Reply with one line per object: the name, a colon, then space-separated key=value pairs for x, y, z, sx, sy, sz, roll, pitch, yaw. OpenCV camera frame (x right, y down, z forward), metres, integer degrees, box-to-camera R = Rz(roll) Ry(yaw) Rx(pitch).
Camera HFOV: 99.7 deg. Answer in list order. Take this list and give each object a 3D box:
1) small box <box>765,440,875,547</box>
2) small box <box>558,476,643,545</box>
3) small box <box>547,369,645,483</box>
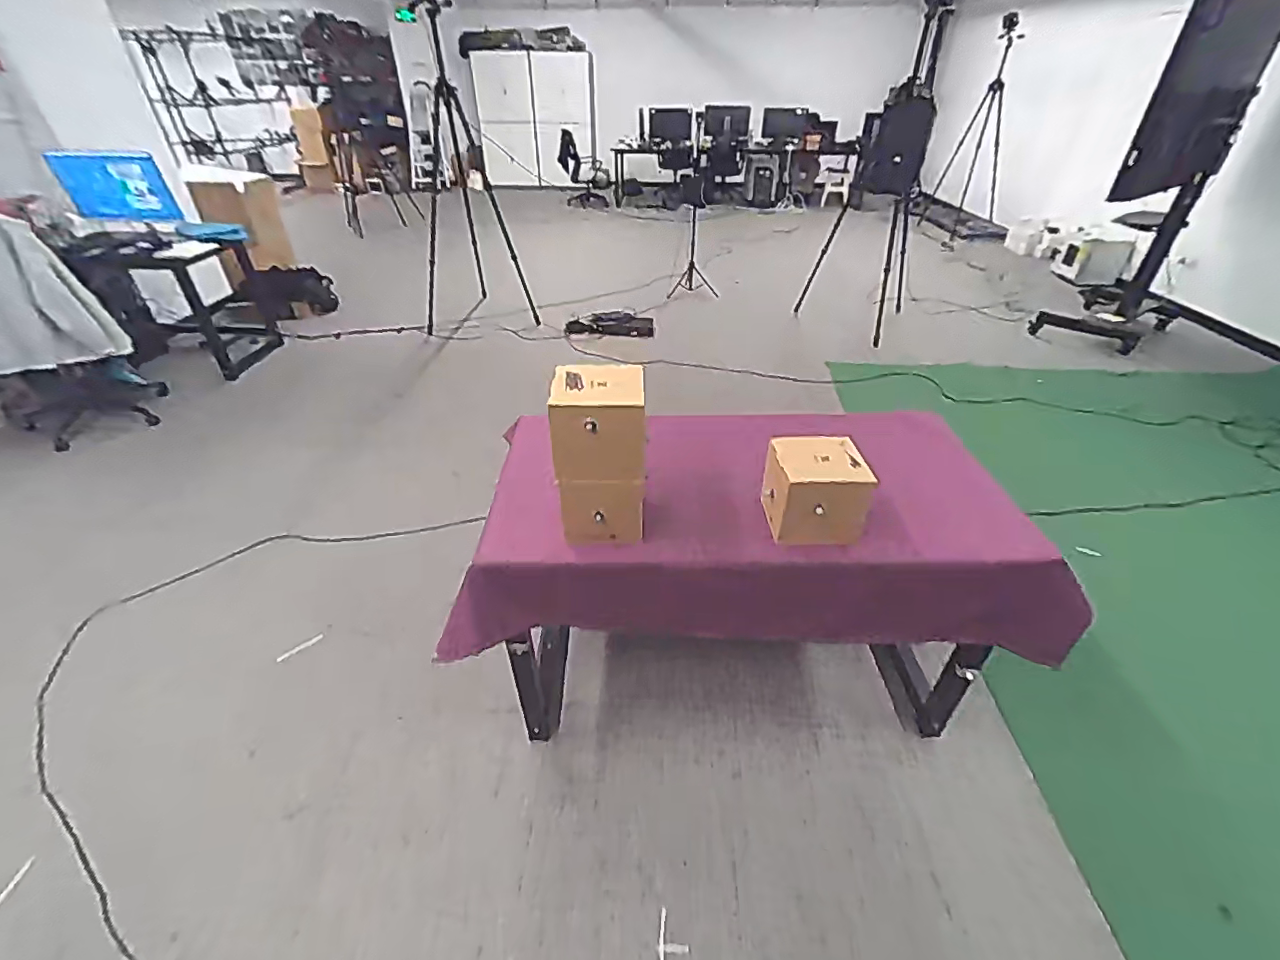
small box: x=0.370 y=0.030 z=1.154 sx=0.179 sy=0.176 sz=0.168 roll=-1 pitch=36 yaw=0
small box: x=-0.077 y=0.026 z=1.161 sx=0.168 sy=0.176 sz=0.179 roll=0 pitch=36 yaw=0
small box: x=-0.079 y=-0.107 z=1.064 sx=0.179 sy=0.176 sz=0.168 roll=0 pitch=36 yaw=-1
